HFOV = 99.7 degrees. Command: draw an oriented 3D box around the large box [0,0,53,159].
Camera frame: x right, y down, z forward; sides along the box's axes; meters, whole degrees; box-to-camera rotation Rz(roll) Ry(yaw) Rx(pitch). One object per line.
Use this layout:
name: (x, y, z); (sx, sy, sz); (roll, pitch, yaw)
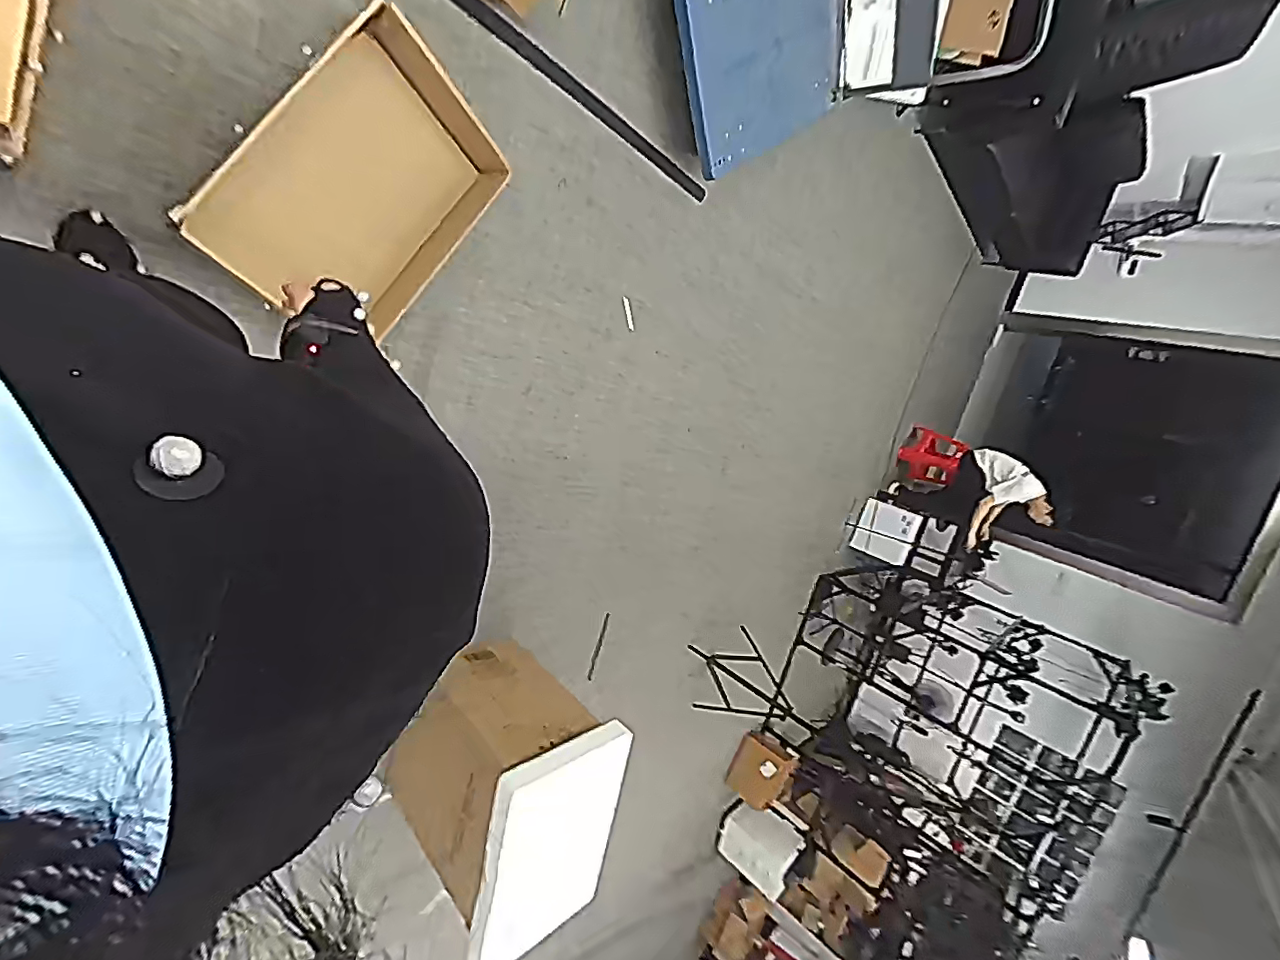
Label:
large box: (-0.978, -0.693, 0.686); (0.320, 0.320, 0.408); (10, 103, -49)
